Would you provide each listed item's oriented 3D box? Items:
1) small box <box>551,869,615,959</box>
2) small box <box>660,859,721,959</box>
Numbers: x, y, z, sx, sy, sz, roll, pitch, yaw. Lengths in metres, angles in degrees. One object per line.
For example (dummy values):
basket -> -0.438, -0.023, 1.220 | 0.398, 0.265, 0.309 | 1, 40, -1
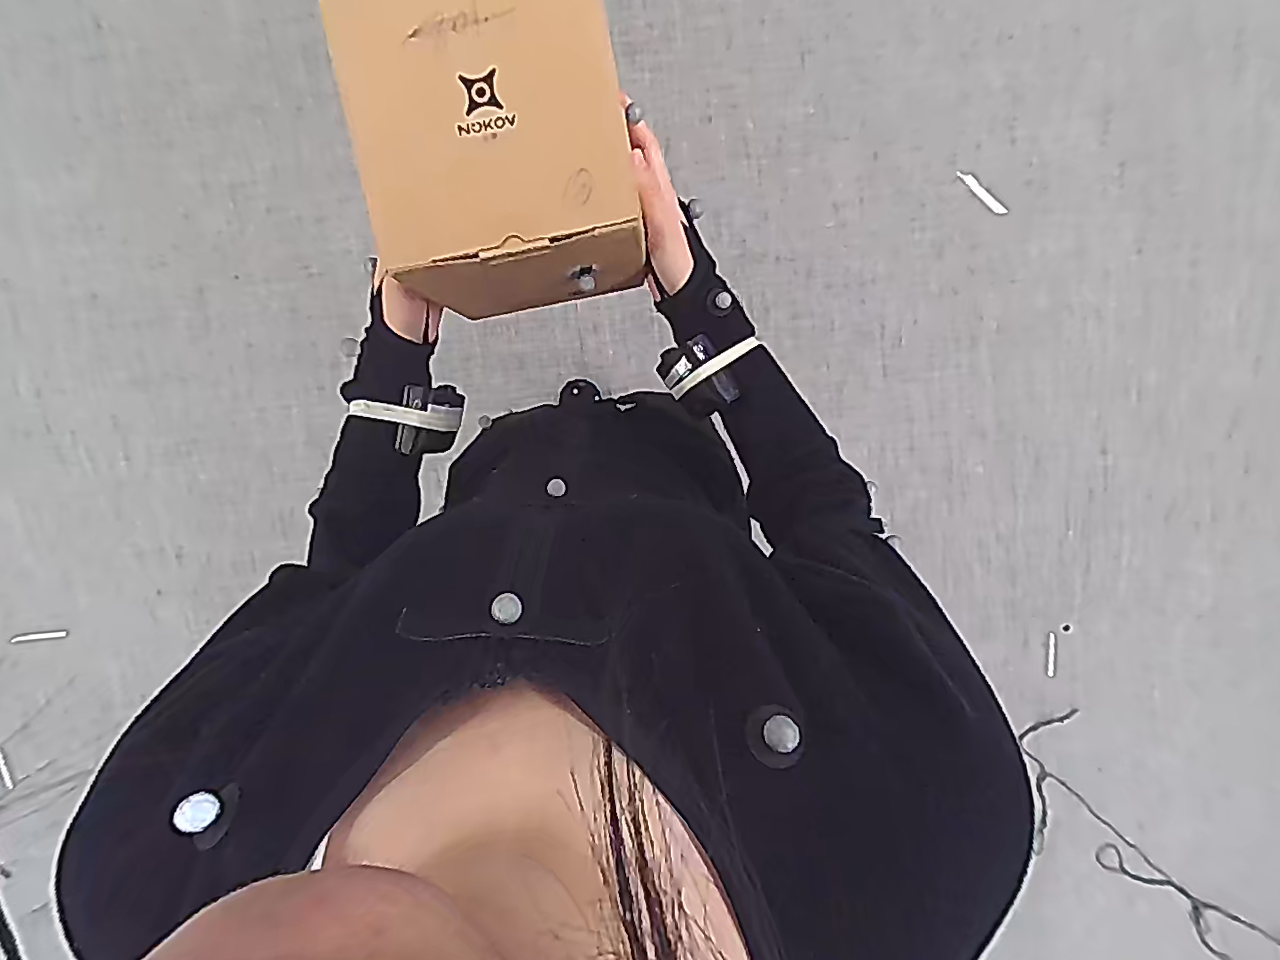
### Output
small box -> -0.166, 1.323, 1.629 | 0.168, 0.176, 0.179 | -7, 99, -1
small box -> 0.149, 1.294, 1.633 | 0.168, 0.176, 0.179 | -5, 101, -1
